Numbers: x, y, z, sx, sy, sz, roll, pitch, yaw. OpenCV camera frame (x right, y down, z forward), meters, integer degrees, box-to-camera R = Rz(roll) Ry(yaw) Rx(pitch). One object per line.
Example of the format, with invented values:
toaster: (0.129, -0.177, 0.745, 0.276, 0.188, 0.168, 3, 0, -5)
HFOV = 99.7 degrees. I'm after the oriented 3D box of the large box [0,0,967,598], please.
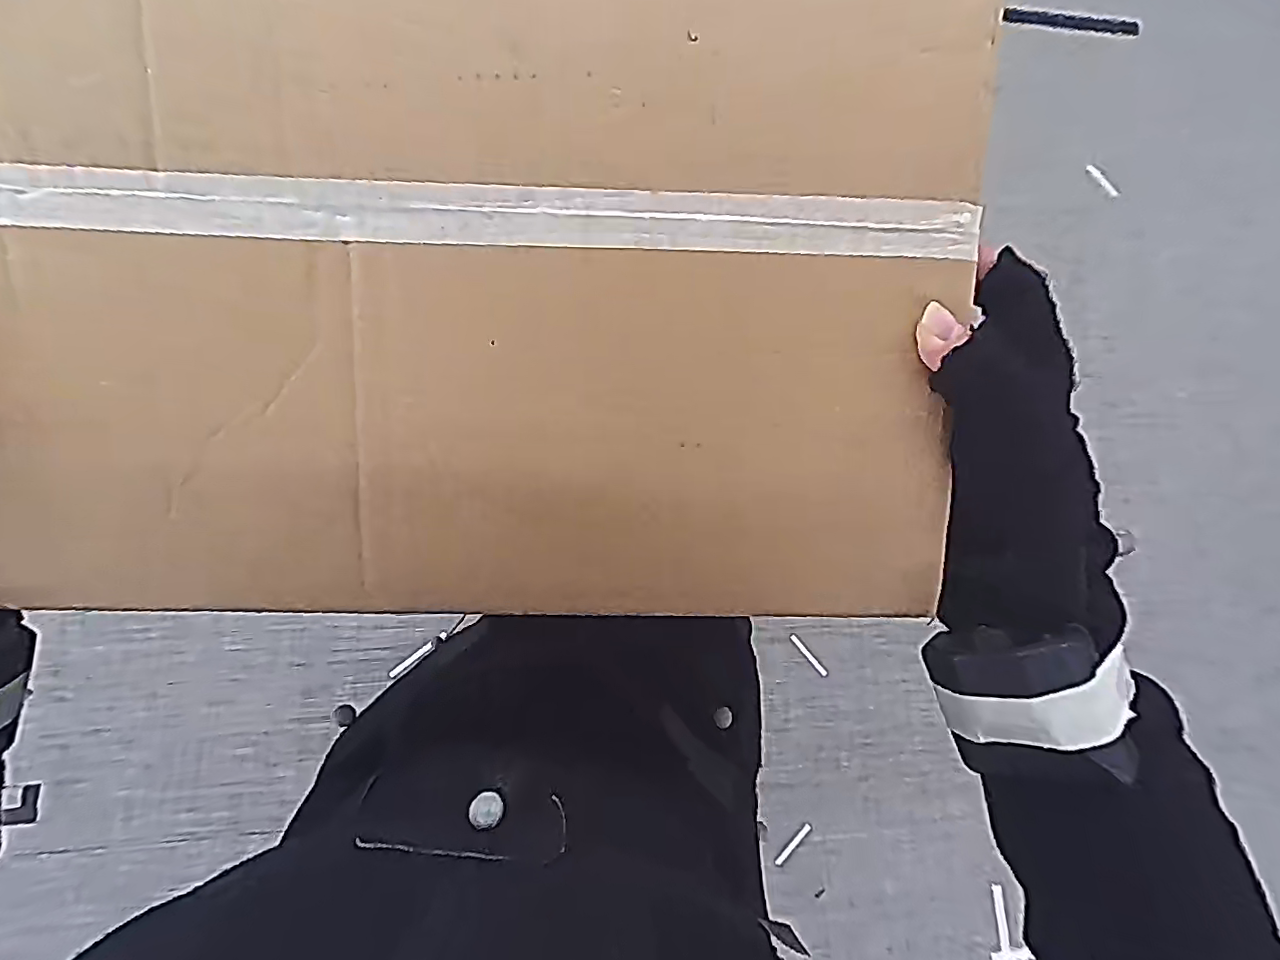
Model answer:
large box: (-0.078, -0.124, 0.364, 0.408, 0.320, 0.320, 2, 98, -3)
